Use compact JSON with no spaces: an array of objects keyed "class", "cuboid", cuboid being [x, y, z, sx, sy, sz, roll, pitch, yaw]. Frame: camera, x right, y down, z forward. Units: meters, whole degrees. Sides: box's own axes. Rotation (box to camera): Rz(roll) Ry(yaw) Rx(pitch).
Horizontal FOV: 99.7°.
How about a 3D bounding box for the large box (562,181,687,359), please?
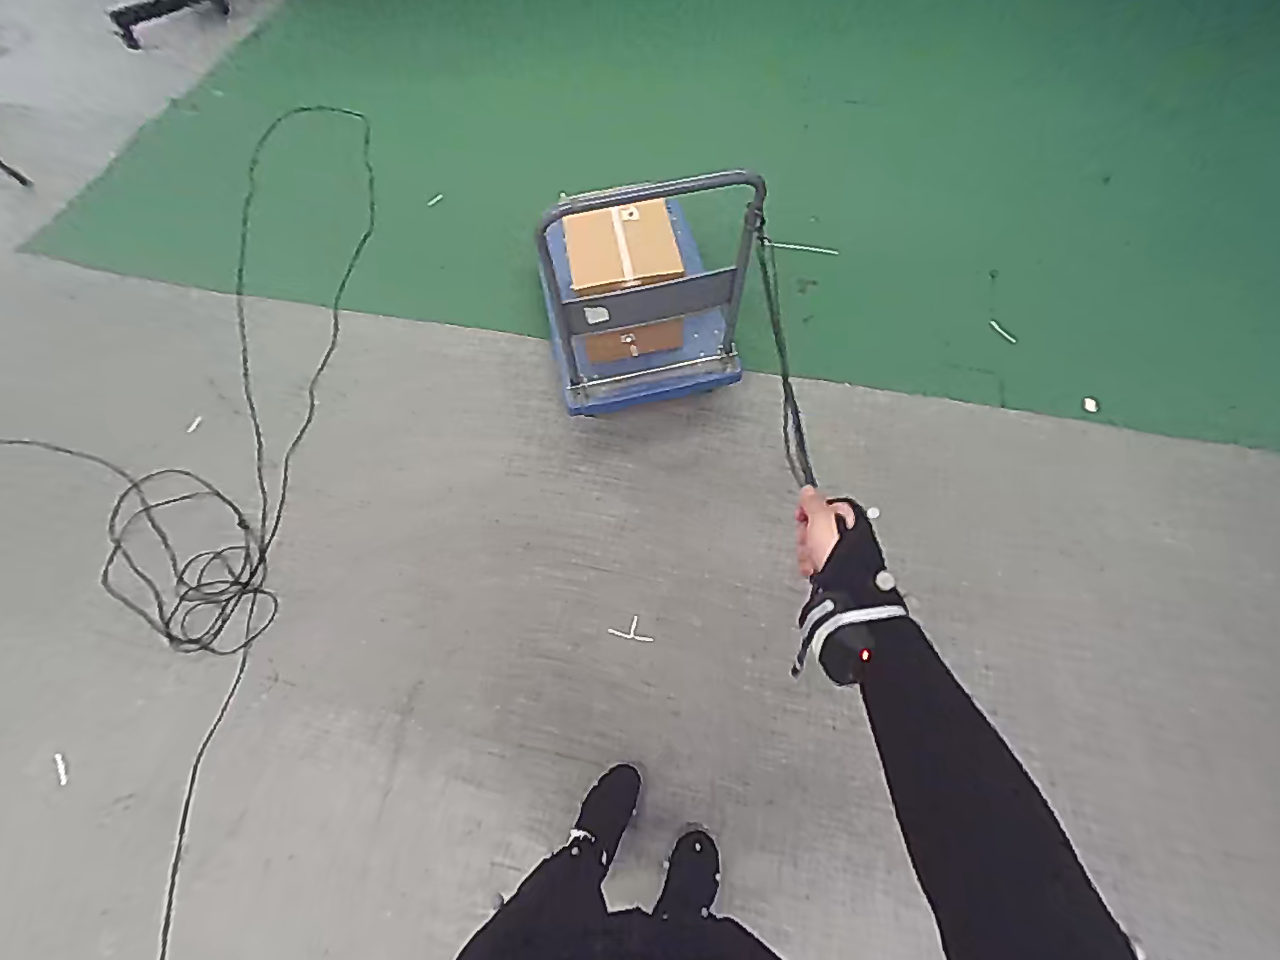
[{"class":"large box","cuboid":[-0.044,-0.652,1.699,0.320,0.320,0.408,-10,62,-2]}]
